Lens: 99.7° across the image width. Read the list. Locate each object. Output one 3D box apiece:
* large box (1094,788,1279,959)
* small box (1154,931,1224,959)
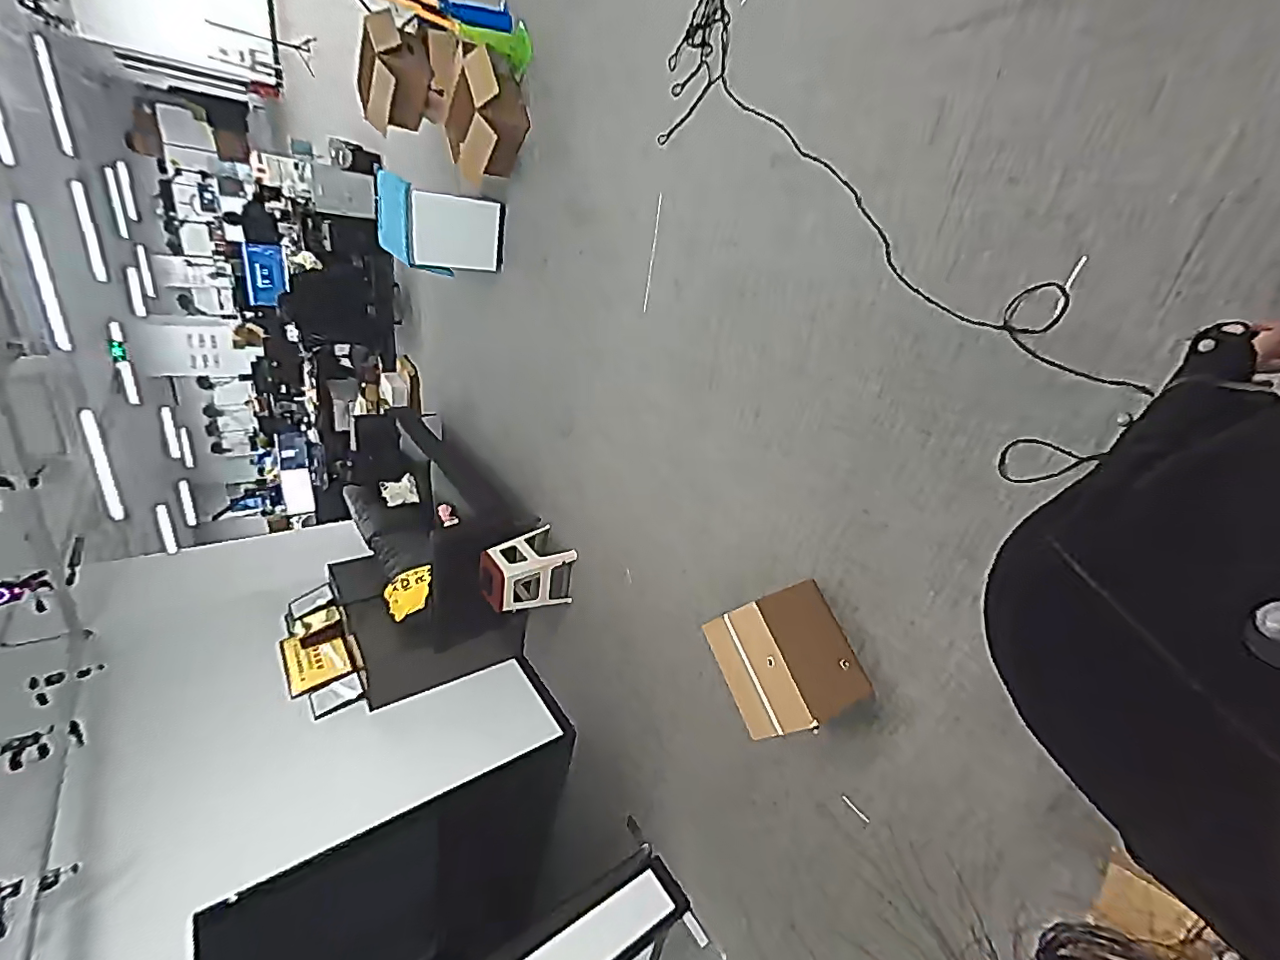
[{"bbox_3d":[1.178,0.898,1.028,0.408,0.320,0.320,19,115,49],"label":"large box"},{"bbox_3d":[0.965,0.930,0.908,0.179,0.176,0.168,25,117,49],"label":"small box"}]
